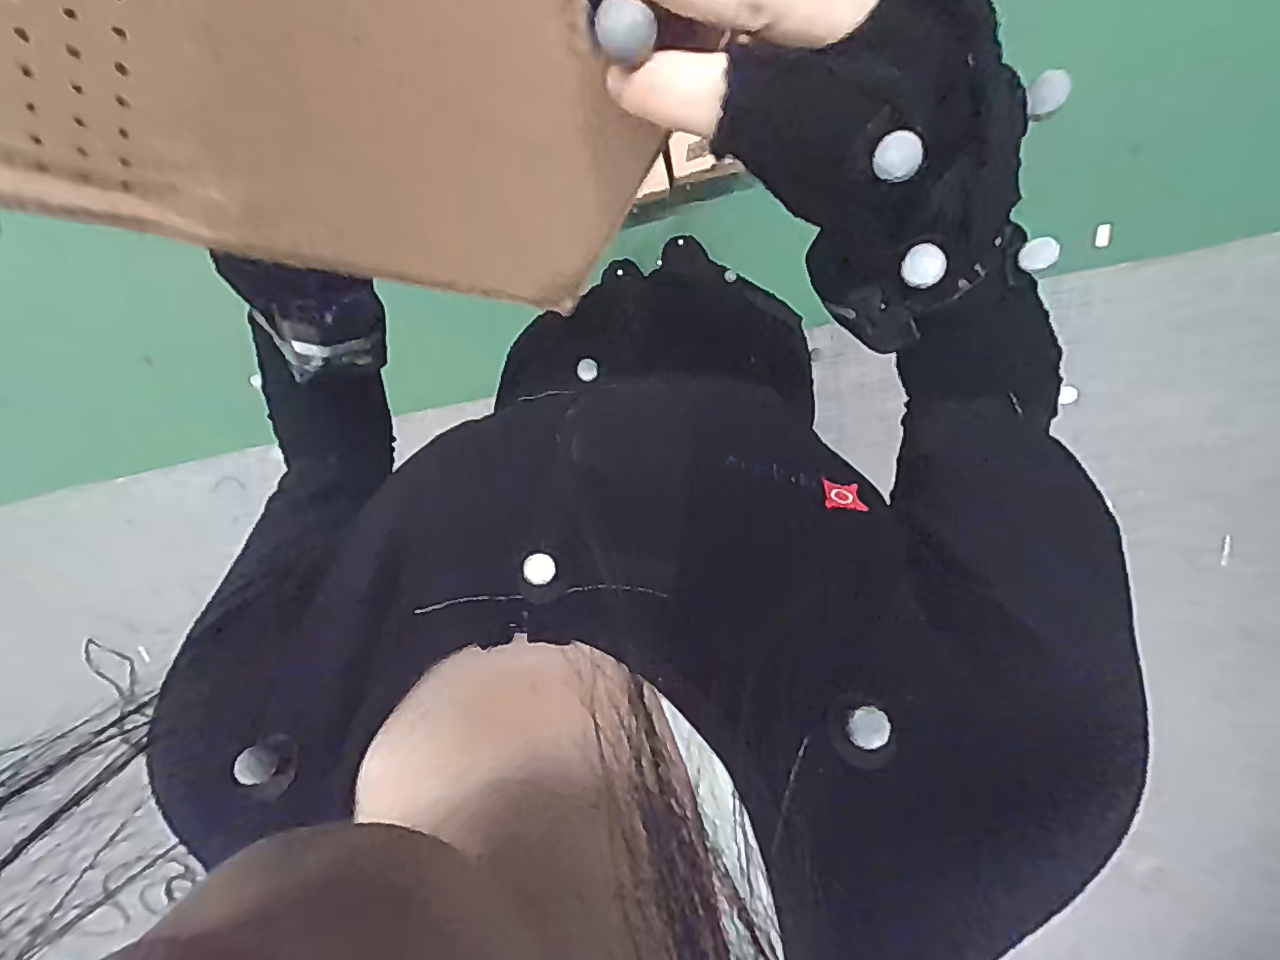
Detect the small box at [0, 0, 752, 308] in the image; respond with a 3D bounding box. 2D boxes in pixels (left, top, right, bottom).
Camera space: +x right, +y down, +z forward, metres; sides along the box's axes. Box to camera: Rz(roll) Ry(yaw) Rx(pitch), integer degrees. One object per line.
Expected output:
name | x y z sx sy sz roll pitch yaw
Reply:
small box | -0.080 -0.181 0.149 0.179 0.176 0.168 -48 62 37
